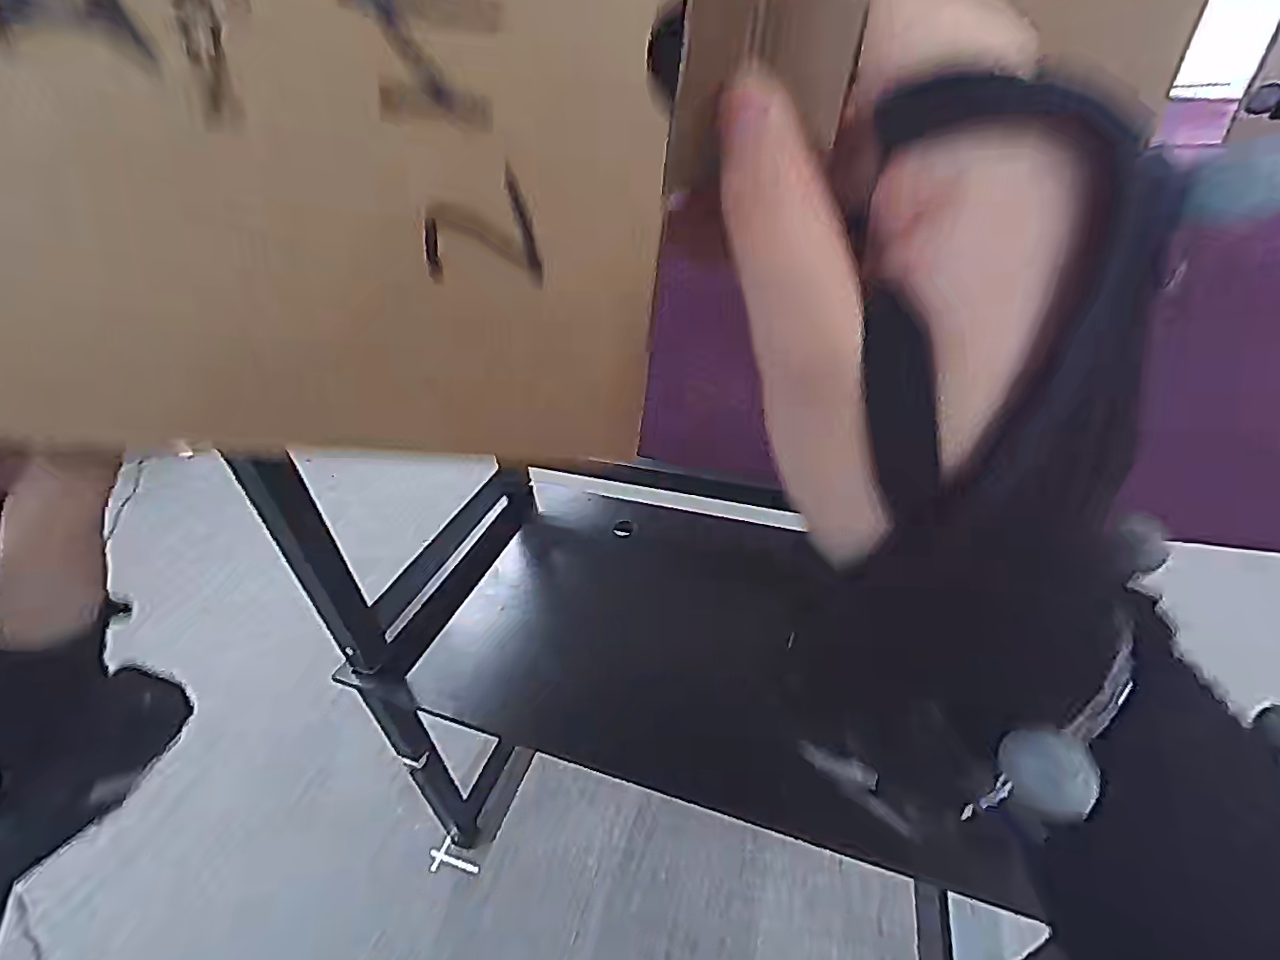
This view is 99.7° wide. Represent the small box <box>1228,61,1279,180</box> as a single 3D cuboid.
[{"bbox_3d":[0.436,-0.221,0.233,0.179,0.176,0.168,12,38,22],"label":"small box"}]
